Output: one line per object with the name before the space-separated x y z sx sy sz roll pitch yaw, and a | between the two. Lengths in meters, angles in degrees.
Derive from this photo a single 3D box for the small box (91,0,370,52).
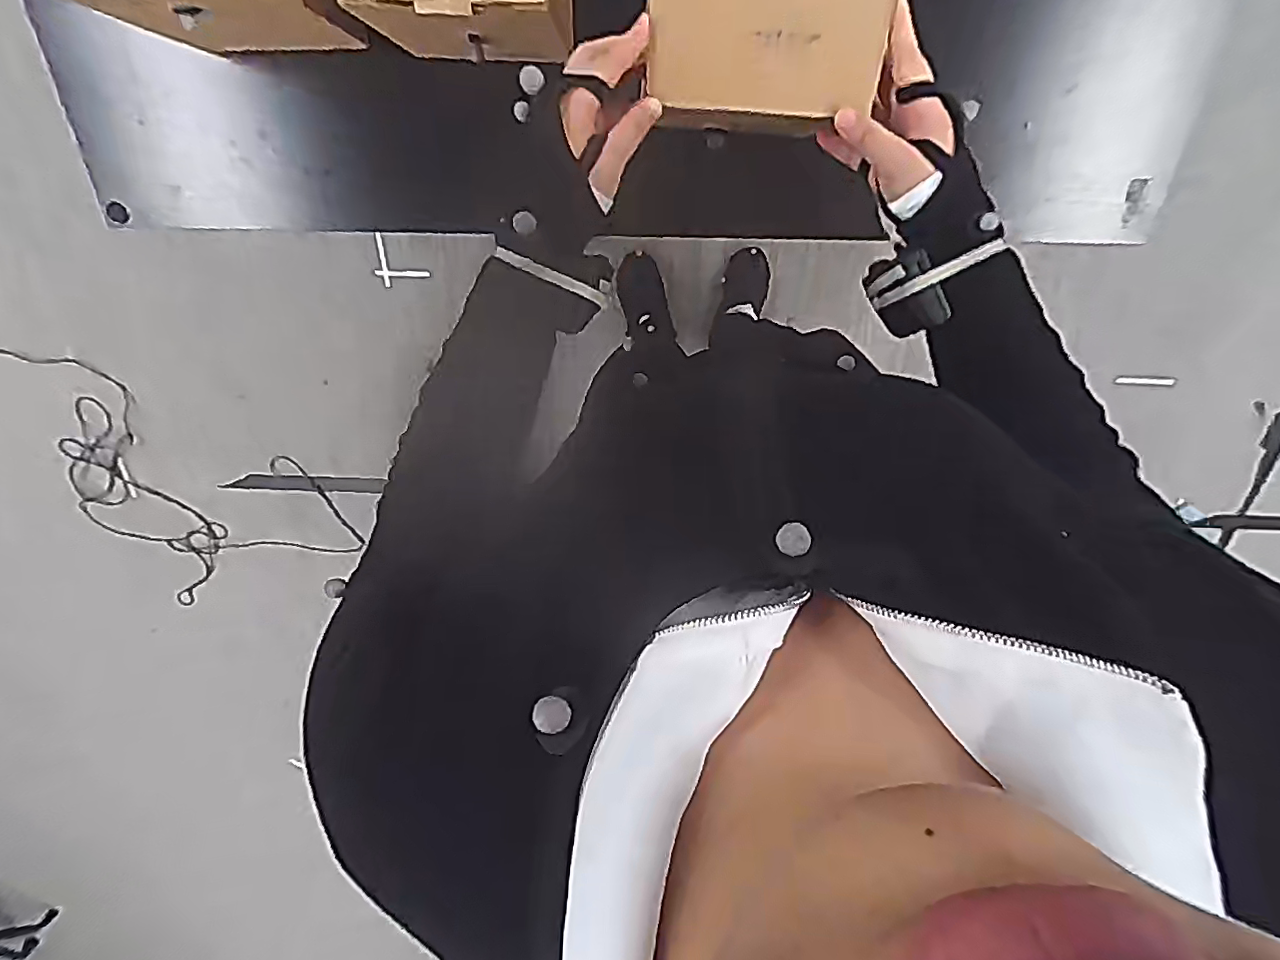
small box | -0.364 -0.482 0.454 0.179 0.176 0.168 -1 117 0

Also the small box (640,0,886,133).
small box | 0.086 -0.387 0.425 0.168 0.176 0.179 2 120 -1

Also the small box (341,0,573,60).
small box | -0.149 -0.479 0.456 0.168 0.176 0.179 2 117 0
